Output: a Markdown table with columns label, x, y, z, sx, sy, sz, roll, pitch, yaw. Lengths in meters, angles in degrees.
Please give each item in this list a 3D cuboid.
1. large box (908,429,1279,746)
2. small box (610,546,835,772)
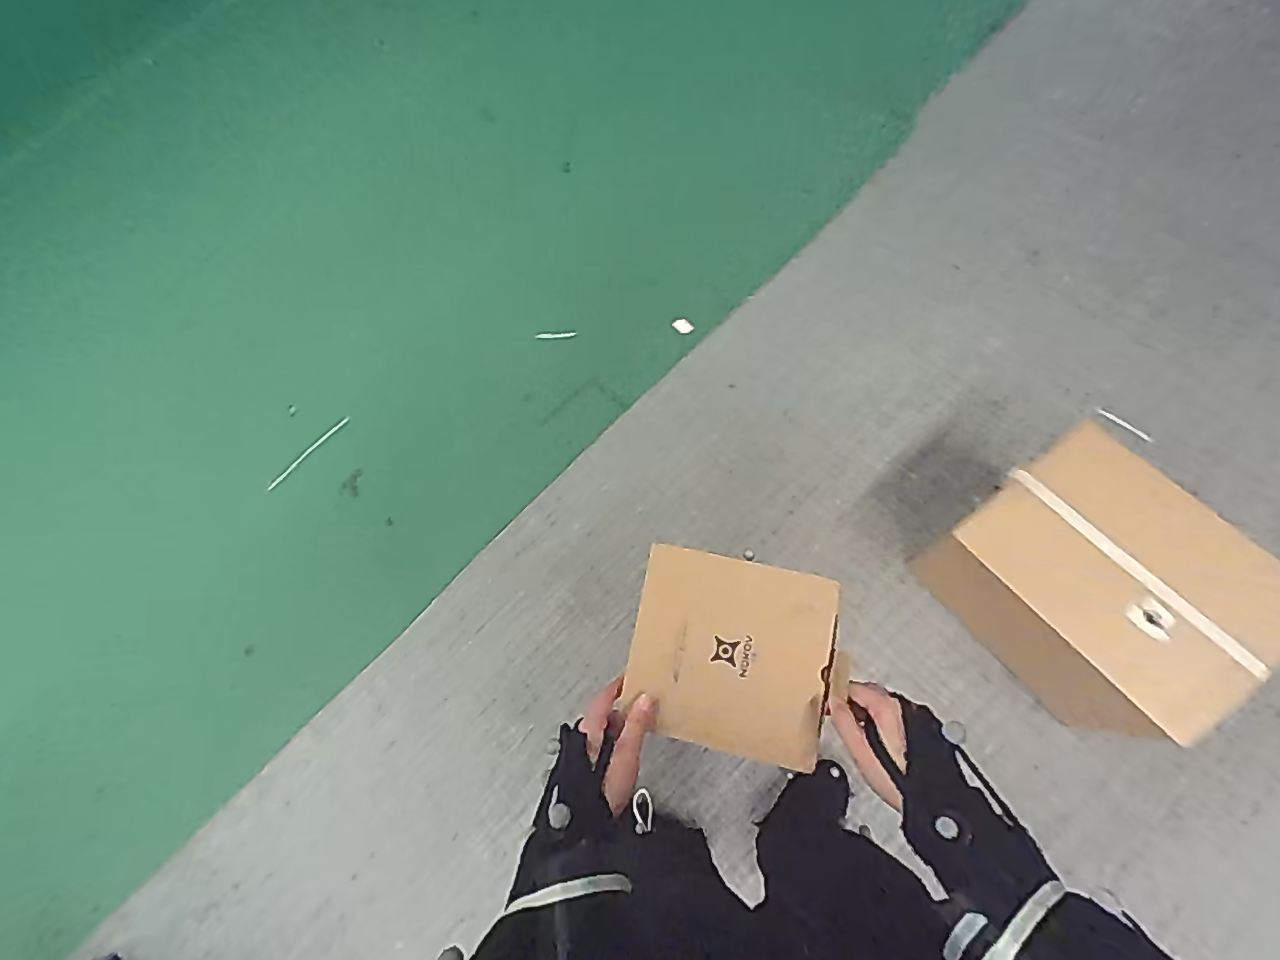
| label | x | y | z | sx | sy | sz | roll | pitch | yaw |
| --- | --- | --- | --- | --- | --- | --- | --- | --- | --- |
| large box | 0.785 | 0.190 | 0.974 | 0.320 | 0.320 | 0.408 | -38 | 68 | -3 |
| small box | 0.082 | 0.167 | 0.552 | 0.179 | 0.176 | 0.168 | 9 | 80 | 9 |
